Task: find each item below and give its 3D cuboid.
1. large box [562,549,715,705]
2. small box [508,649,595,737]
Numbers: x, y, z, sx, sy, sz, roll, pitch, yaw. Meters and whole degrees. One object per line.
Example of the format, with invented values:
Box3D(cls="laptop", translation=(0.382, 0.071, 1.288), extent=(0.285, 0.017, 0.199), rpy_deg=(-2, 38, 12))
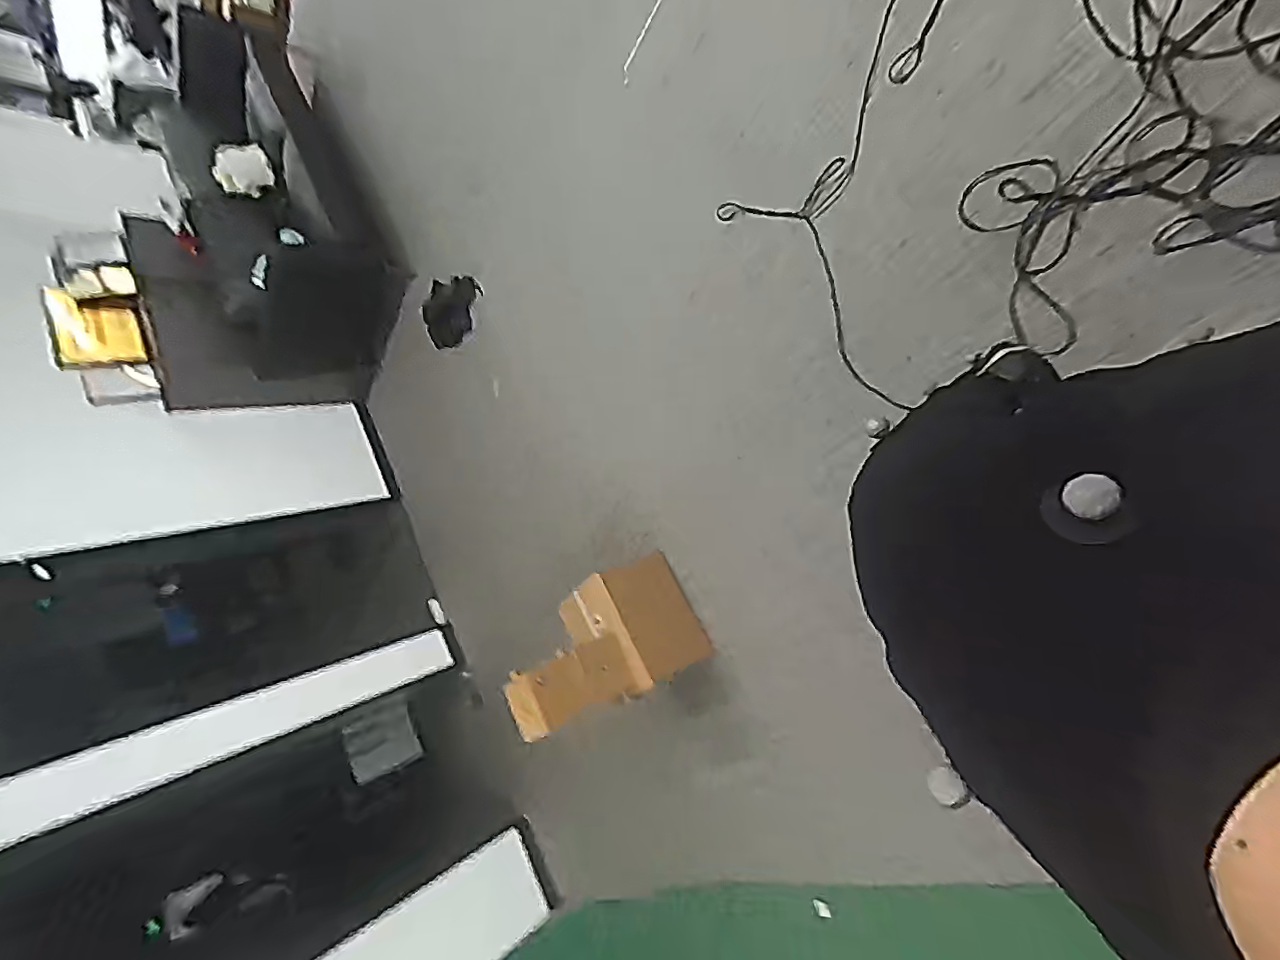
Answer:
Box3D(cls="large box", translation=(-0.010, 0.513, 1.923), extent=(0.320, 0.320, 0.408), rpy_deg=(-44, 66, 40))
Box3D(cls="small box", translation=(-0.263, 0.634, 1.619), extent=(0.168, 0.176, 0.179), rpy_deg=(-43, 67, 42))
